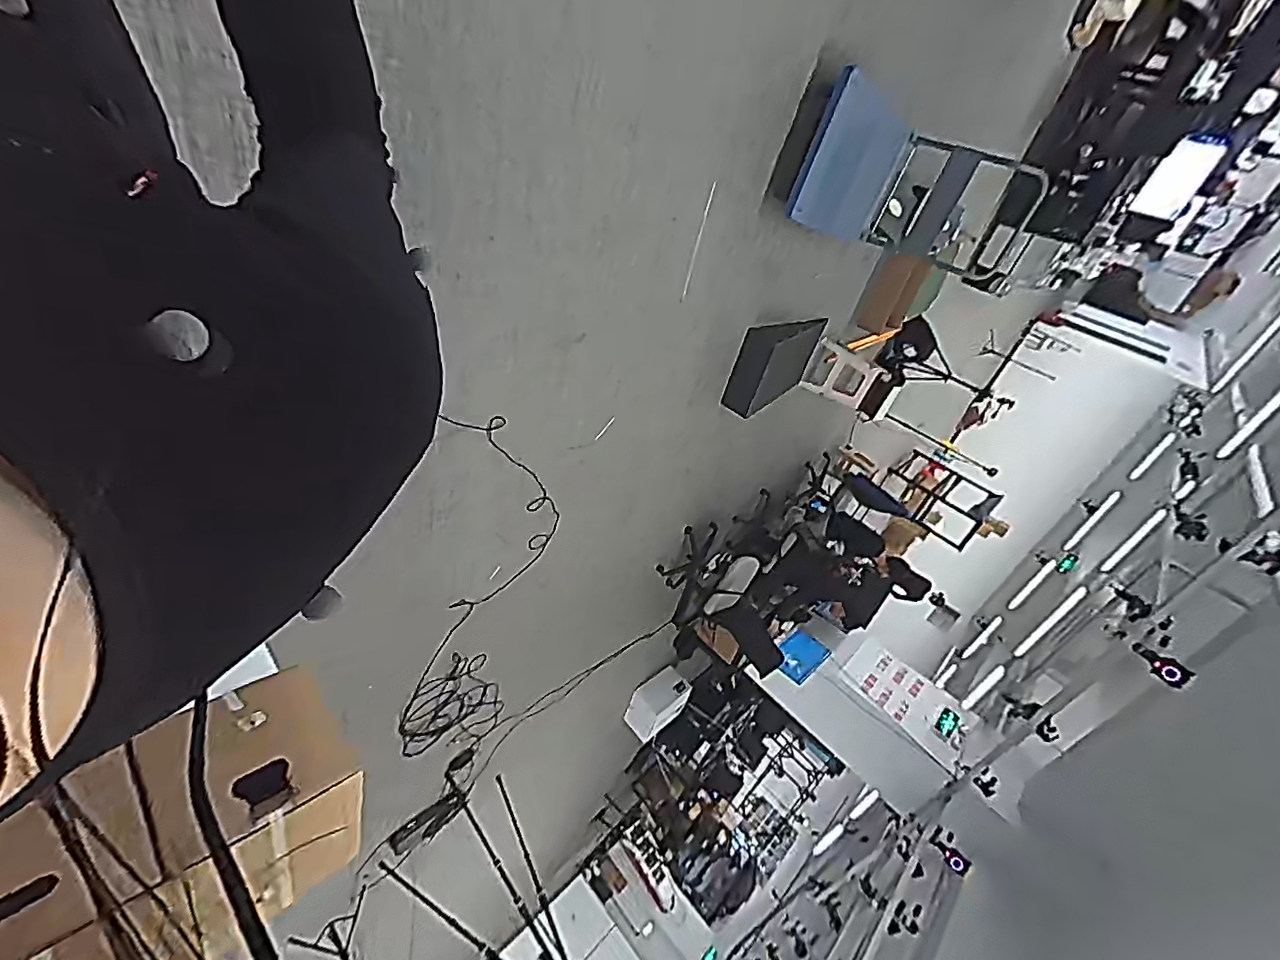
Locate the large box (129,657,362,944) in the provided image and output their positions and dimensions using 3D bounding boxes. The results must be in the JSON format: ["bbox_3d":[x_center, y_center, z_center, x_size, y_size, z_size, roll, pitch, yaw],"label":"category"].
[{"bbox_3d":[-0.828,0.670,1.168,0.320,0.320,0.408,-17,138,-44],"label":"large box"}]
